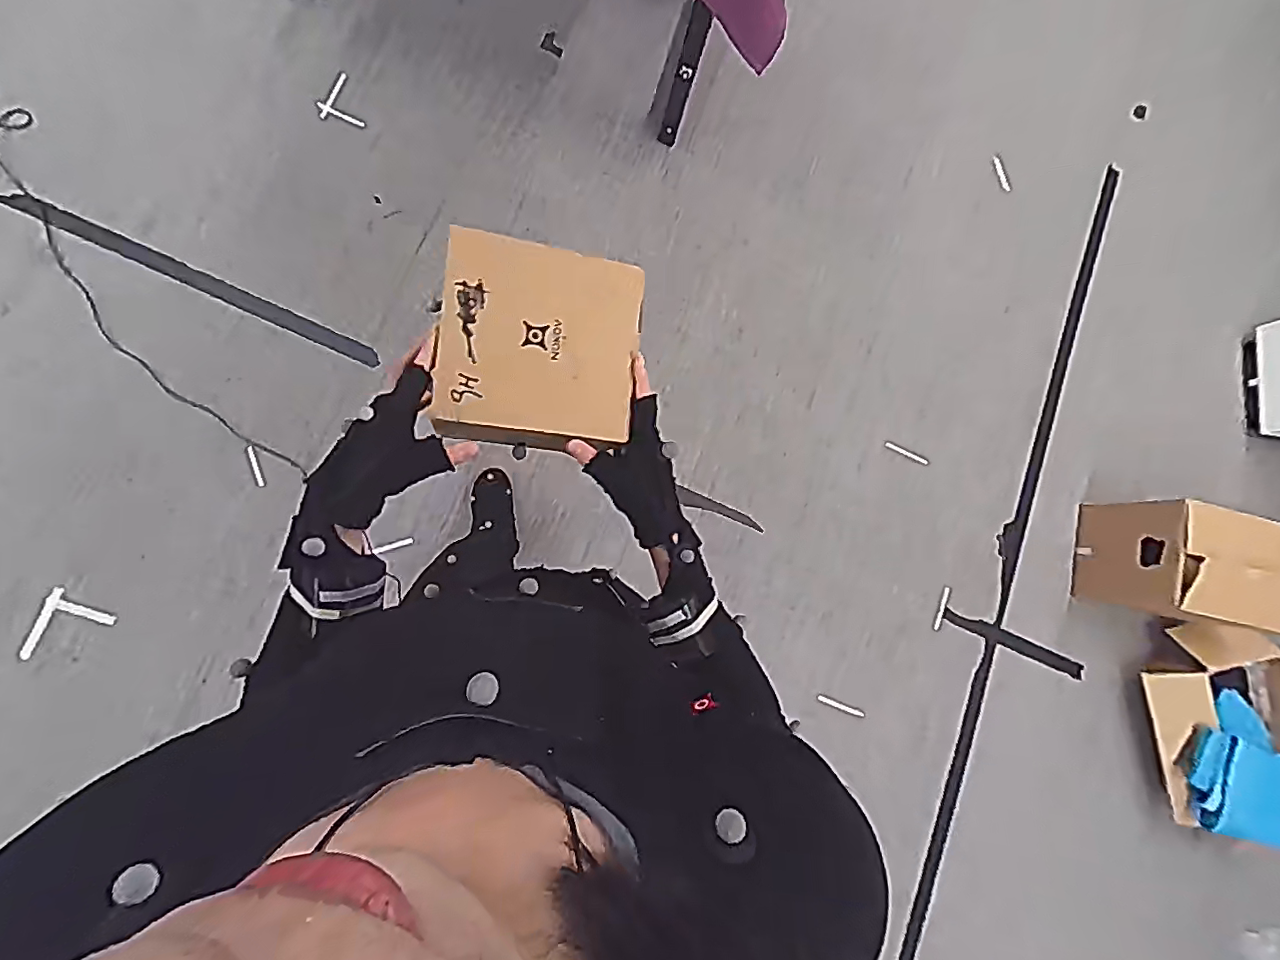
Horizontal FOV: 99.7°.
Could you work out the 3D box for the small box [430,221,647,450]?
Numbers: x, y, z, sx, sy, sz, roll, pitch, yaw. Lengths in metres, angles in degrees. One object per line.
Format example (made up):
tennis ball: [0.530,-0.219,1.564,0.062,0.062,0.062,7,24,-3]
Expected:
small box: [-0.110,-0.125,0.549,0.179,0.176,0.168,7,86,-20]
